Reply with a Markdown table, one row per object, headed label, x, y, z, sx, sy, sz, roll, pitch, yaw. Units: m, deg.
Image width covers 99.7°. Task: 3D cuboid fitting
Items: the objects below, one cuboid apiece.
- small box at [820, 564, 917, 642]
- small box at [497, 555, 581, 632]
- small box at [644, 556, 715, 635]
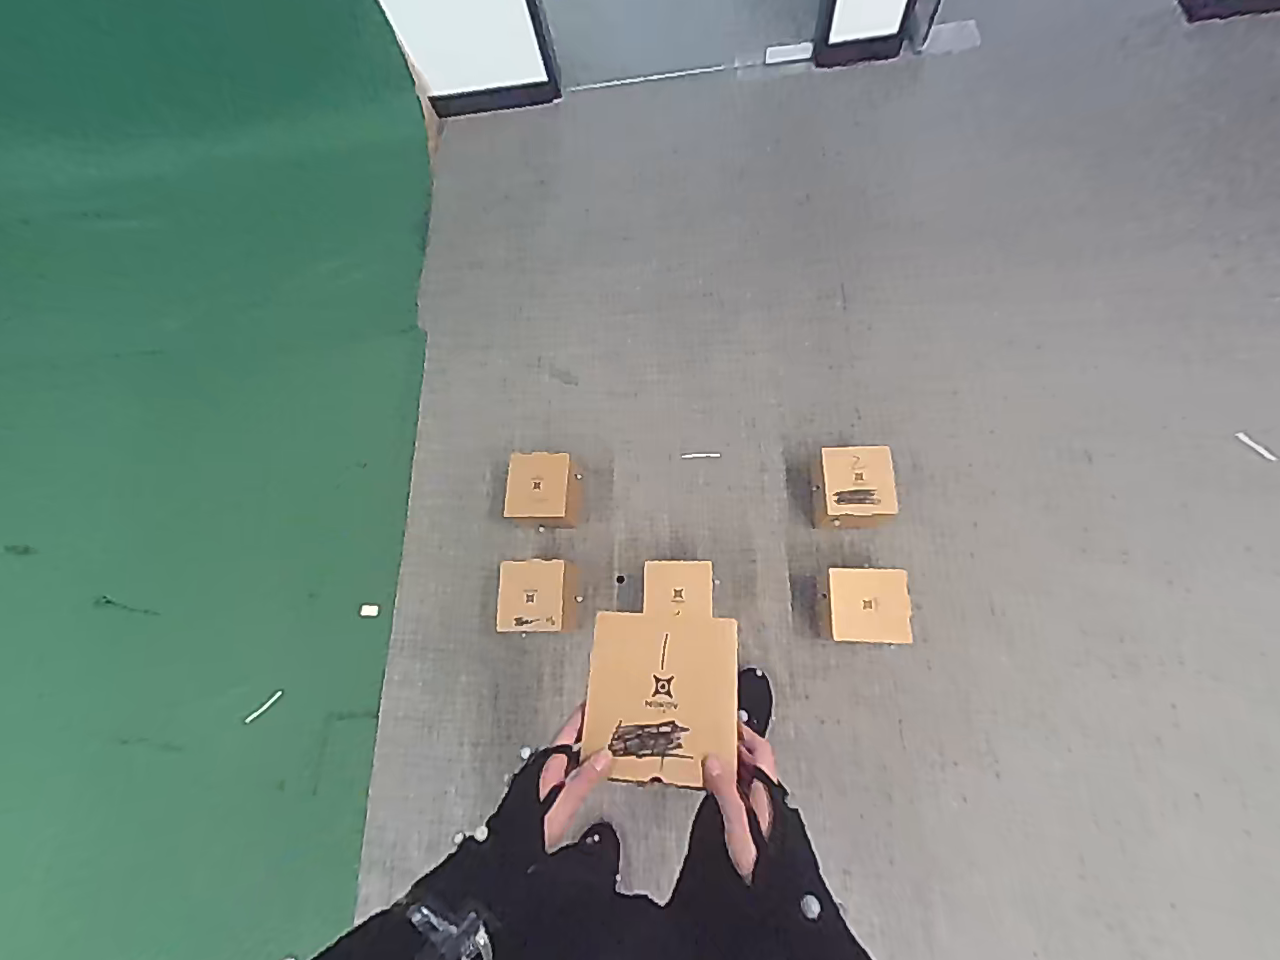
| label | x | y | z | sx | sy | sz | roll | pitch | yaw |
| --- | --- | --- | --- | --- | --- | --- | --- | --- | --- |
| small box | 0.534 | 0.297 | 1.292 | 0.179 | 0.176 | 0.168 | 0 | 73 | 7 |
| small box | -0.252 | 0.296 | 1.394 | 0.168 | 0.176 | 0.179 | -2 | 72 | 8 |
| small box | 0.103 | 0.292 | 1.348 | 0.168 | 0.176 | 0.179 | -1 | 73 | 8 |
